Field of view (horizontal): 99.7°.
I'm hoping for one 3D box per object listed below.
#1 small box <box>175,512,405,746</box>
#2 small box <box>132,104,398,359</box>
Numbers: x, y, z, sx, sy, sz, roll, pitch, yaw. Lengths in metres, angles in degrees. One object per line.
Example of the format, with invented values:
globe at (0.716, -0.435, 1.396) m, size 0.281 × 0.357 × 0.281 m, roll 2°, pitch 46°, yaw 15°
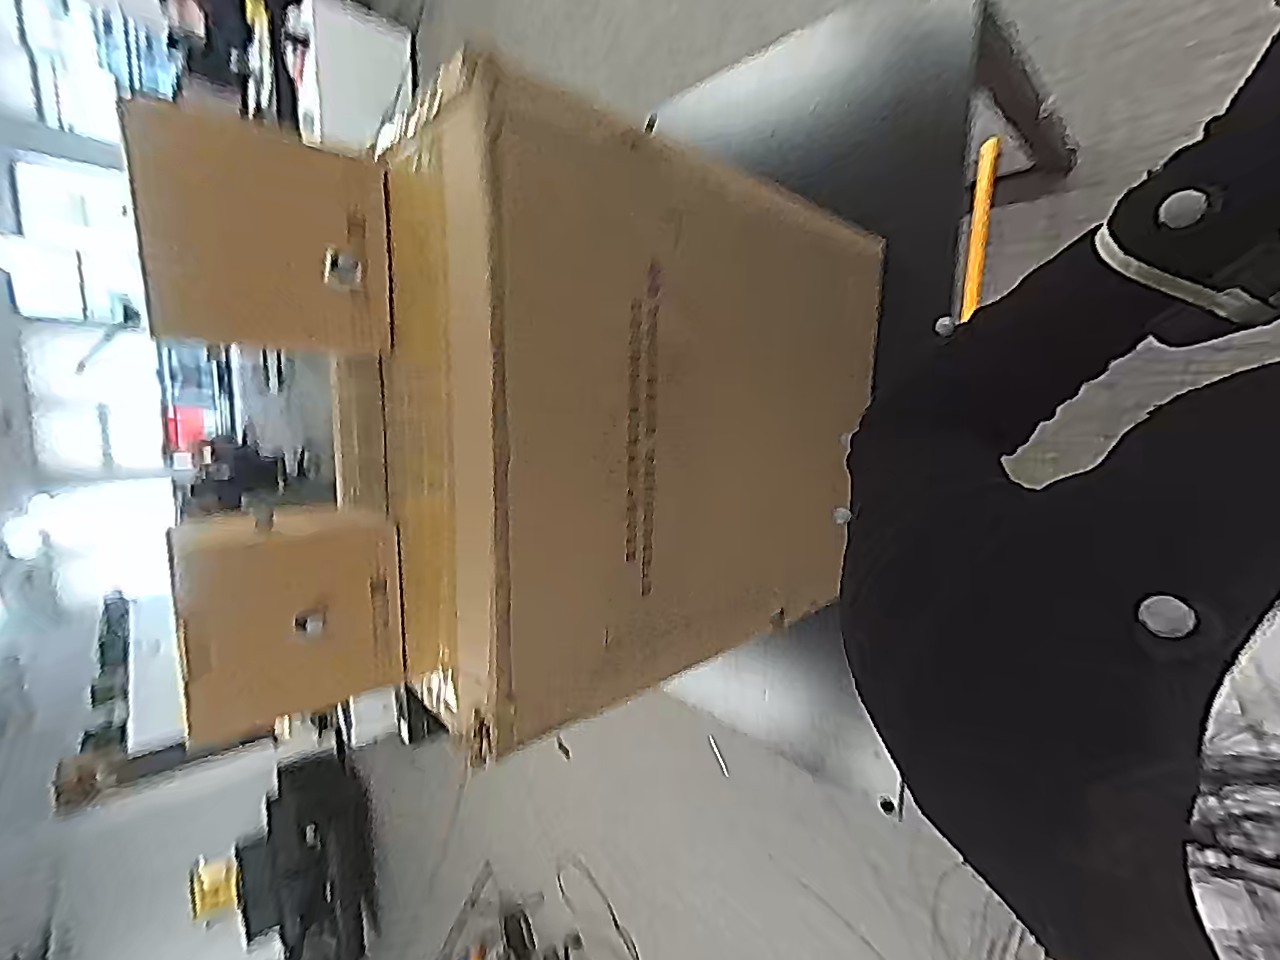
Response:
small box at (-0.347, 0.126, 0.545) m, size 0.179 × 0.176 × 0.168 m, roll 3°, pitch 96°, yaw 48°
small box at (-0.335, -0.198, 0.494) m, size 0.179 × 0.176 × 0.168 m, roll 13°, pitch 107°, yaw 47°
